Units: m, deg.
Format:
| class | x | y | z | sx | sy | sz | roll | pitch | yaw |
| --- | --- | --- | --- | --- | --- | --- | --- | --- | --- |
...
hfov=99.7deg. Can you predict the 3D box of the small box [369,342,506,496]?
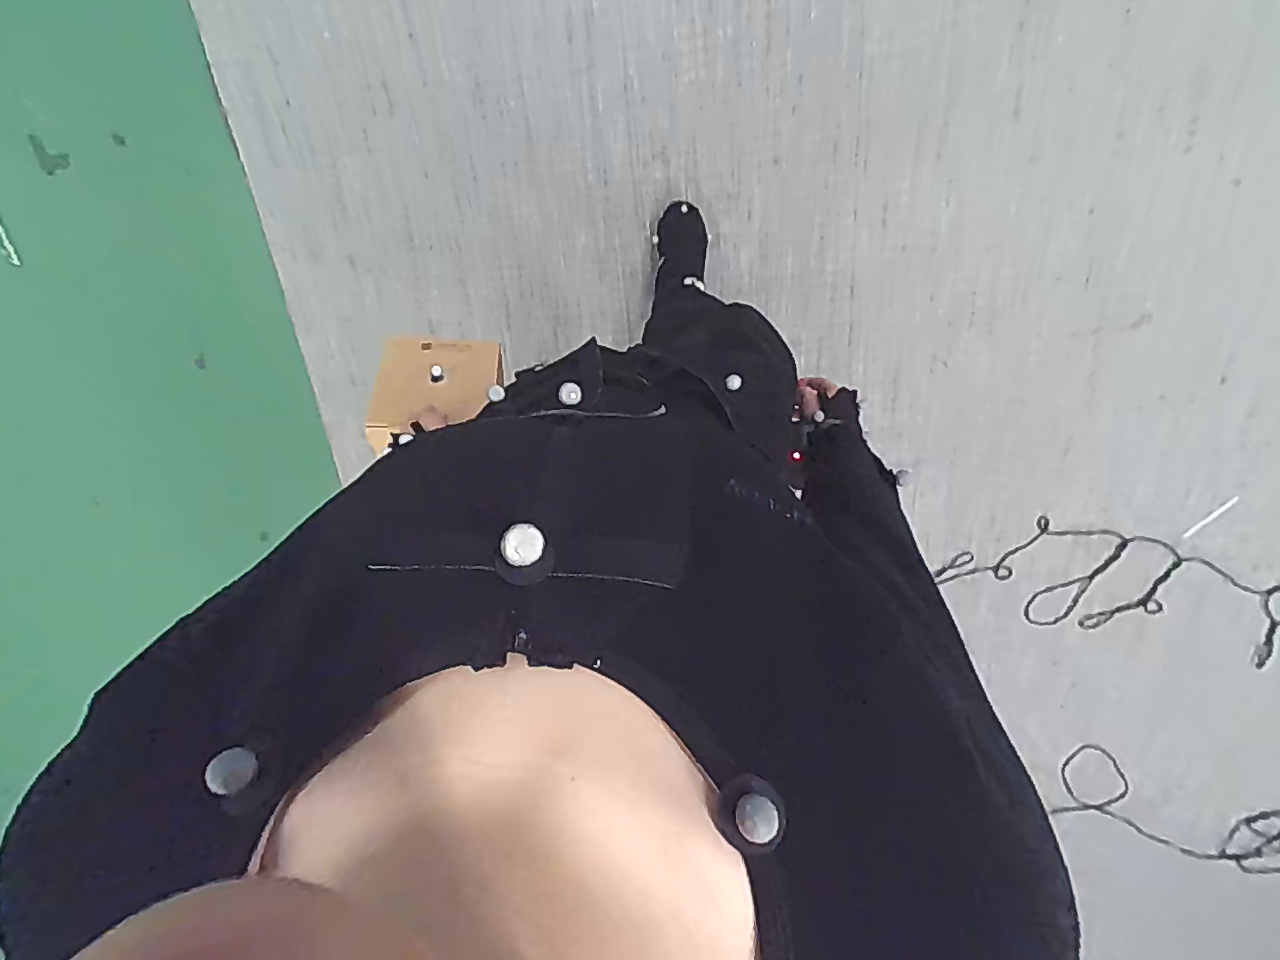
| class | x | y | z | sx | sy | sz | roll | pitch | yaw |
| --- | --- | --- | --- | --- | --- | --- | --- | --- | --- |
| small box | -0.296 | -0.093 | 0.827 | 0.168 | 0.176 | 0.179 | -2 | 149 | -10 |
